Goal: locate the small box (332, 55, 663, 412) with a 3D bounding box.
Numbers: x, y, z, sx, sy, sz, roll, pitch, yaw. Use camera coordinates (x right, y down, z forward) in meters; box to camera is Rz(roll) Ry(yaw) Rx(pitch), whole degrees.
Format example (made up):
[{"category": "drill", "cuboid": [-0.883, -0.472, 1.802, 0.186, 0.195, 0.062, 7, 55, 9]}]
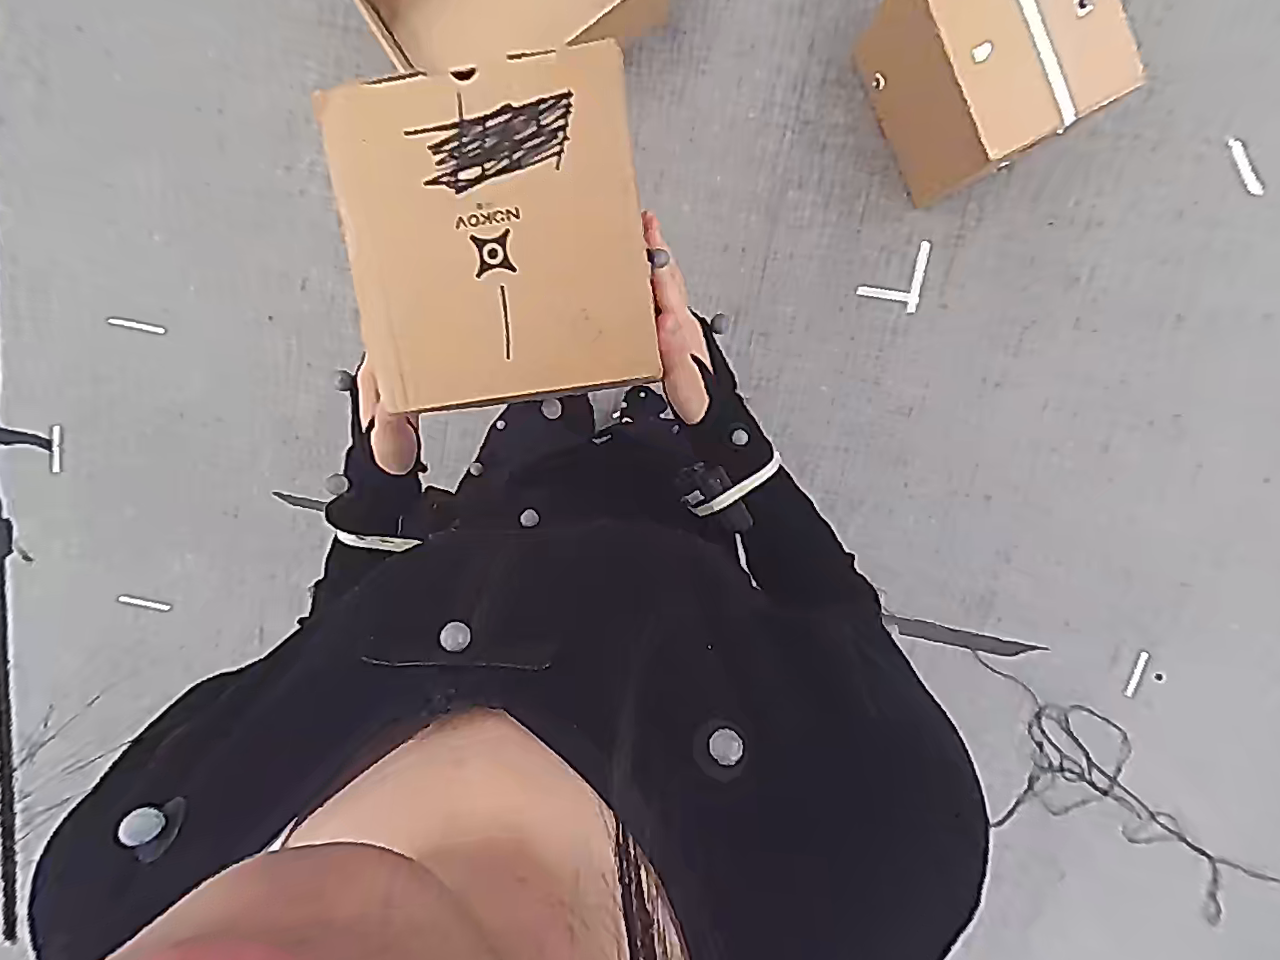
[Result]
[{"category": "small box", "cuboid": [-0.076, -0.146, 0.383, 0.168, 0.176, 0.179, -7, 100, 4]}]
